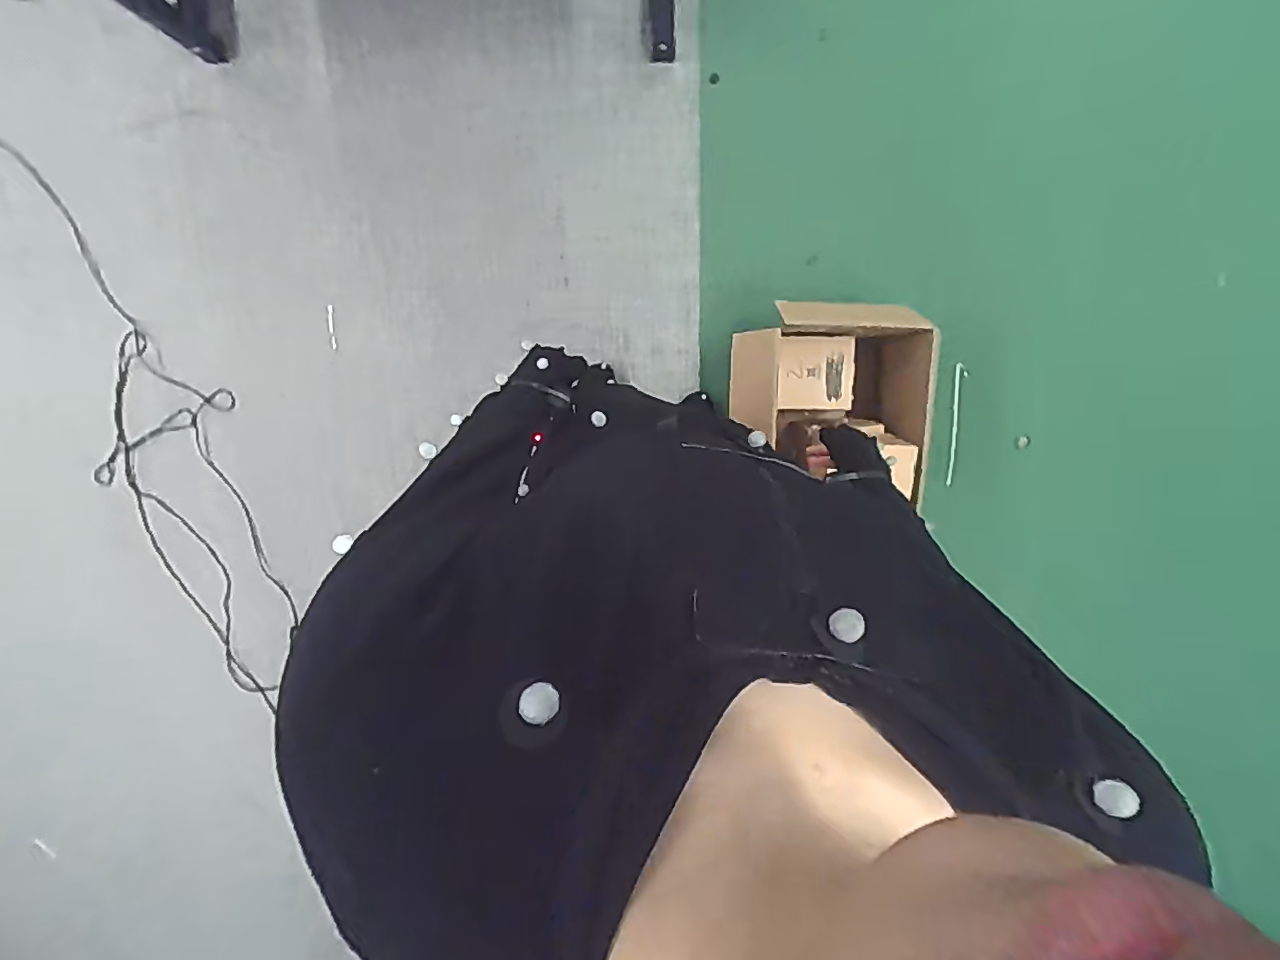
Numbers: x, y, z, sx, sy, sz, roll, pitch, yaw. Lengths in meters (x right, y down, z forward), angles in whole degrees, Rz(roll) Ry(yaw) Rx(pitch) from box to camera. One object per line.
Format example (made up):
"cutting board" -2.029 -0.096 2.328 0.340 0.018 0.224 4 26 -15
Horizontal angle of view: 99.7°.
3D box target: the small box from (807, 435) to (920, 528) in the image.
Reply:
"small box" 0.472 -0.004 1.173 0.179 0.176 0.168 4 103 3
